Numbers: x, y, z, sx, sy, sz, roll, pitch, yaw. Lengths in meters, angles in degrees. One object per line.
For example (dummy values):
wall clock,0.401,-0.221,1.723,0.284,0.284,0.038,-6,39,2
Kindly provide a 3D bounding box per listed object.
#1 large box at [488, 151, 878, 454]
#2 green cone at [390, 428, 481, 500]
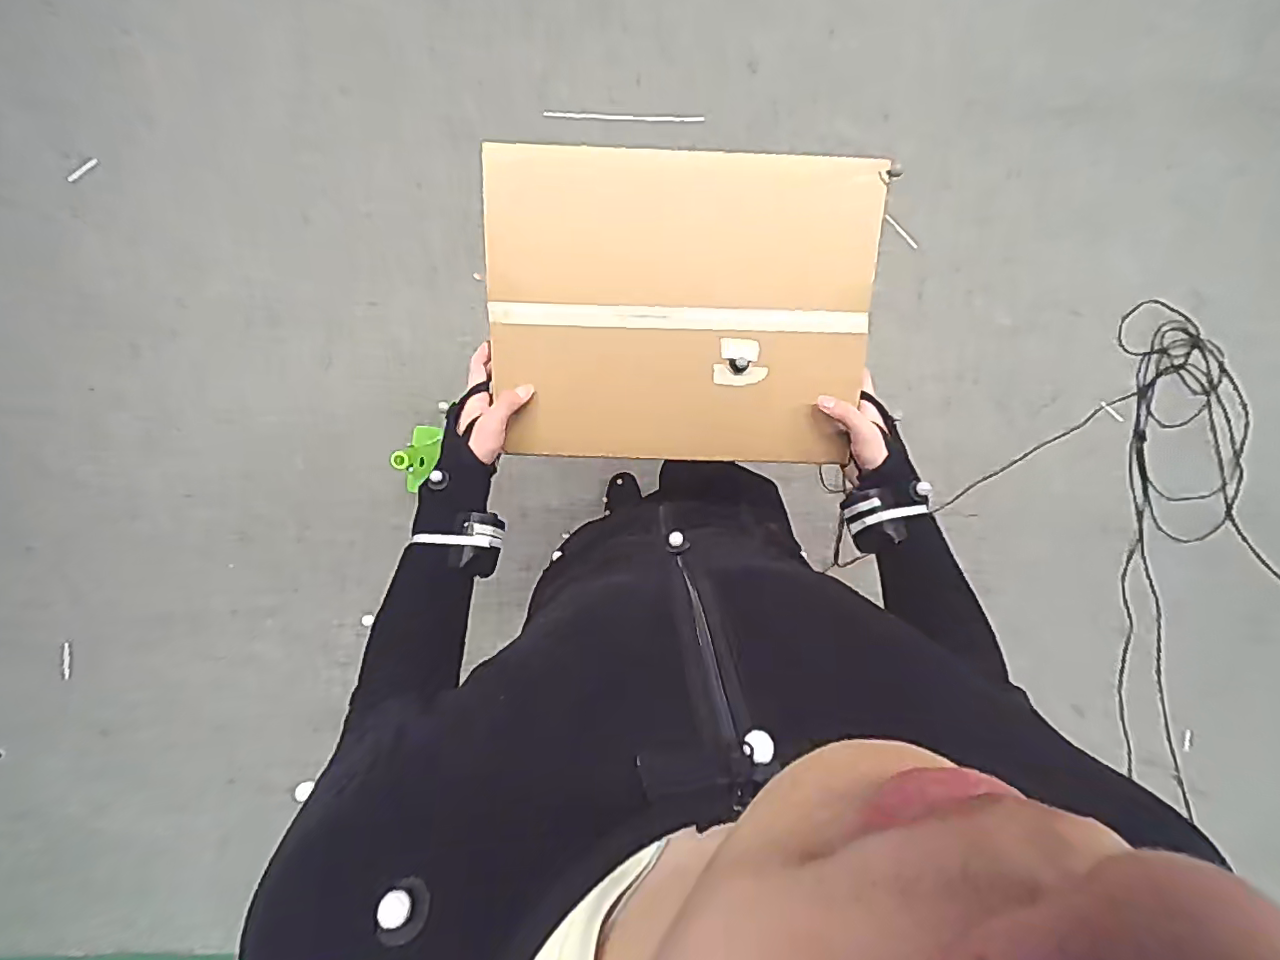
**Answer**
large box,0.039,-0.219,0.727,0.408,0.320,0.320,1,107,-2
green cone,-0.572,-0.041,1.429,0.200,0.368,0.202,6,92,-3
